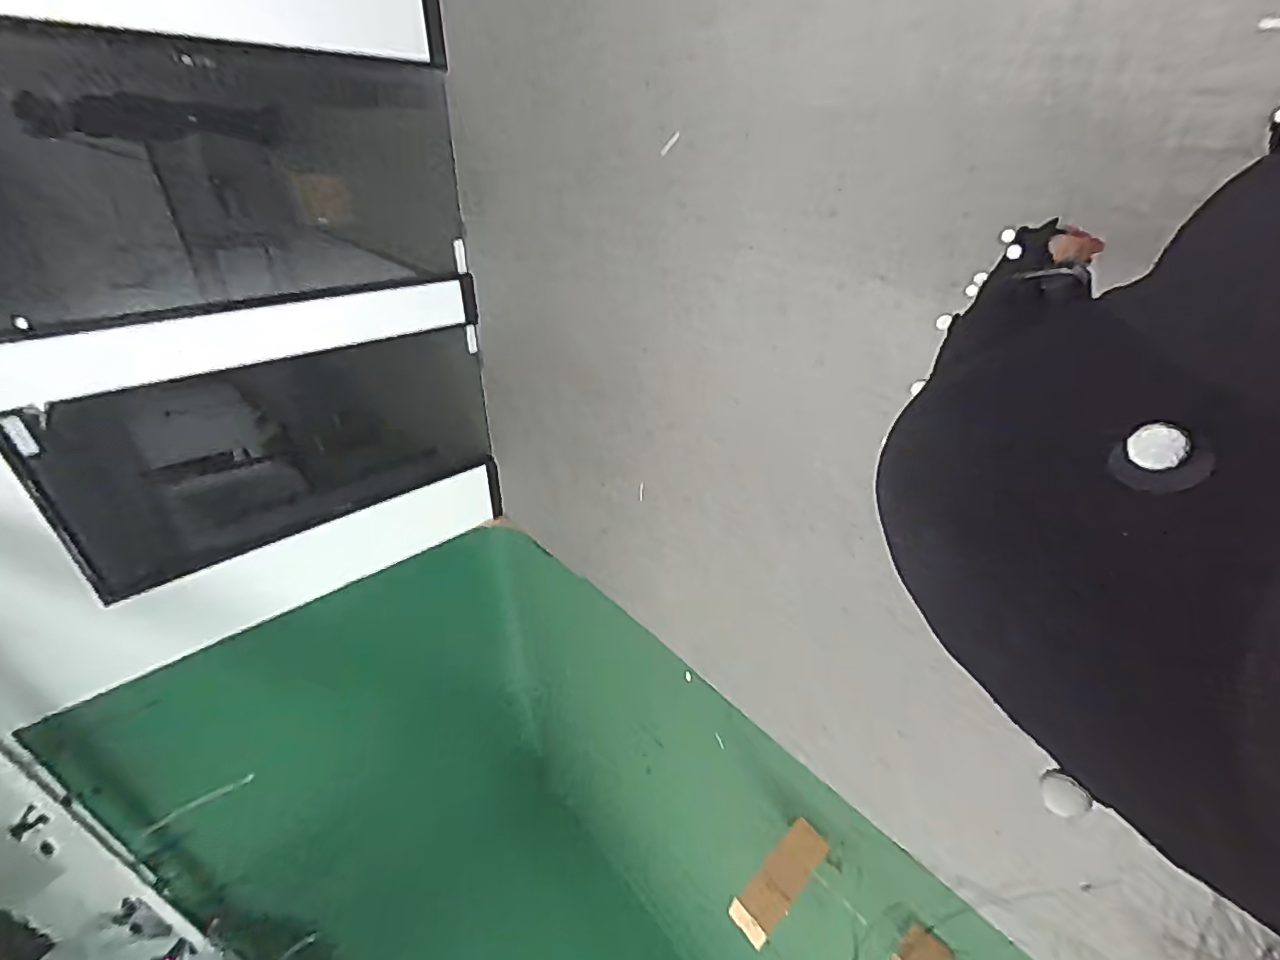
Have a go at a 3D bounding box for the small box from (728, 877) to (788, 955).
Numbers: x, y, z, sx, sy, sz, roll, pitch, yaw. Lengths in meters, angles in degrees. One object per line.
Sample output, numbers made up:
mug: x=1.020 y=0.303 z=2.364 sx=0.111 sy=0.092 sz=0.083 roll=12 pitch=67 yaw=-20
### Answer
small box: x=0.499 y=1.828 z=2.271 sx=0.168 sy=0.176 sz=0.179 roll=36 pitch=135 yaw=35

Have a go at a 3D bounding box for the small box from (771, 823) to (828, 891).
small box: x=0.734 y=1.723 z=2.477 sx=0.168 sy=0.176 sz=0.179 roll=38 pitch=136 yaw=32

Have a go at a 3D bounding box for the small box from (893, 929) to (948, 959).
small box: x=1.111 y=1.945 z=2.138 sx=0.179 sy=0.176 sz=0.168 roll=31 pitch=131 yaw=37
